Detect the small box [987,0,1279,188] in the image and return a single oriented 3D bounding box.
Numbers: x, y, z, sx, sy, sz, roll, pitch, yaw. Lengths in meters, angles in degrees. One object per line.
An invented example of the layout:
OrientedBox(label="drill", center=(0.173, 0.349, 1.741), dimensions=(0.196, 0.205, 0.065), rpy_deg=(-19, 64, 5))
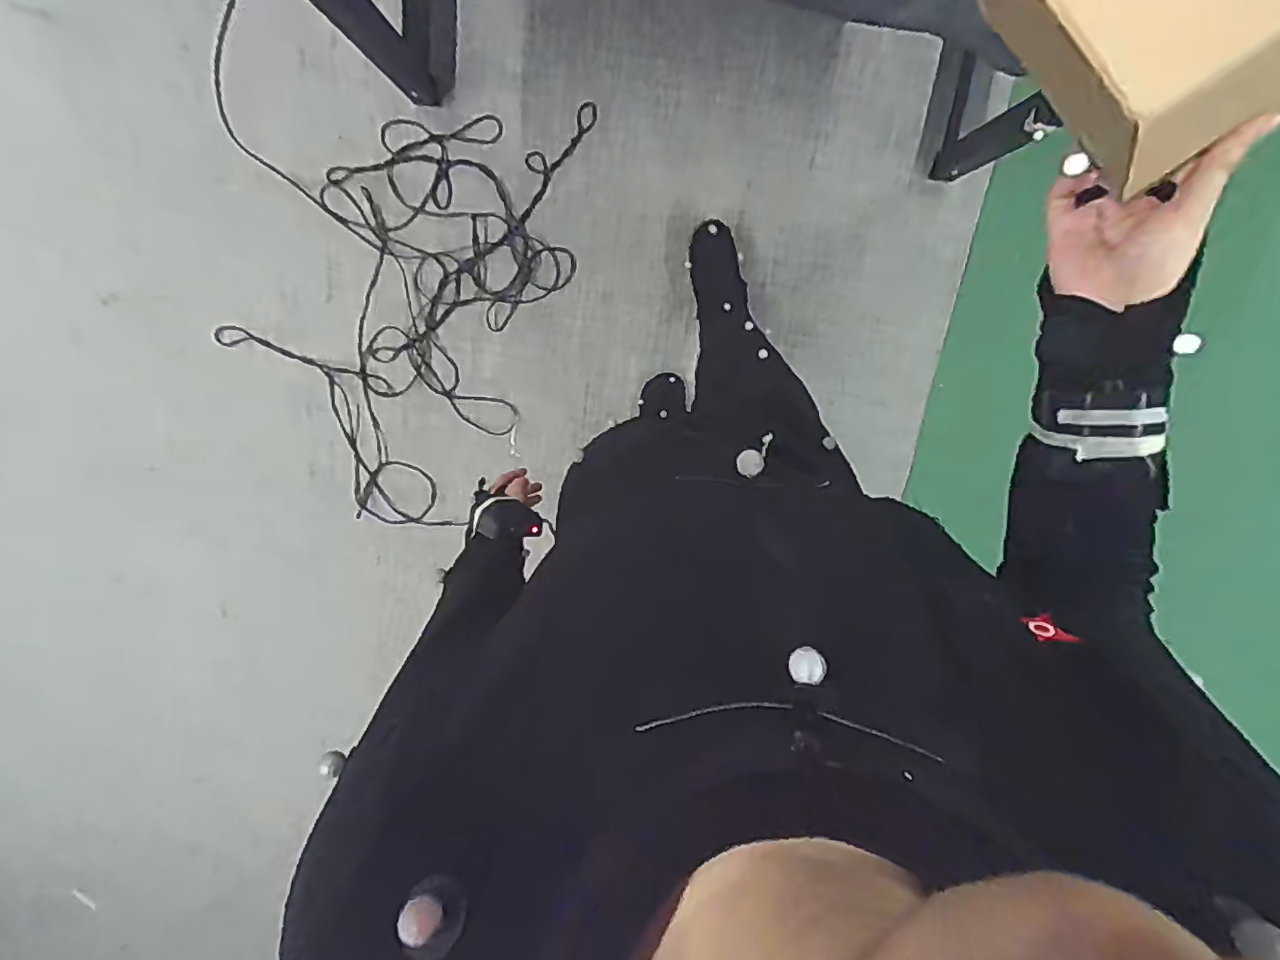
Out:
OrientedBox(label="small box", center=(0.253, -0.269, 0.228), dimensions=(0.168, 0.179, 0.176), rpy_deg=(-34, 78, 40))
